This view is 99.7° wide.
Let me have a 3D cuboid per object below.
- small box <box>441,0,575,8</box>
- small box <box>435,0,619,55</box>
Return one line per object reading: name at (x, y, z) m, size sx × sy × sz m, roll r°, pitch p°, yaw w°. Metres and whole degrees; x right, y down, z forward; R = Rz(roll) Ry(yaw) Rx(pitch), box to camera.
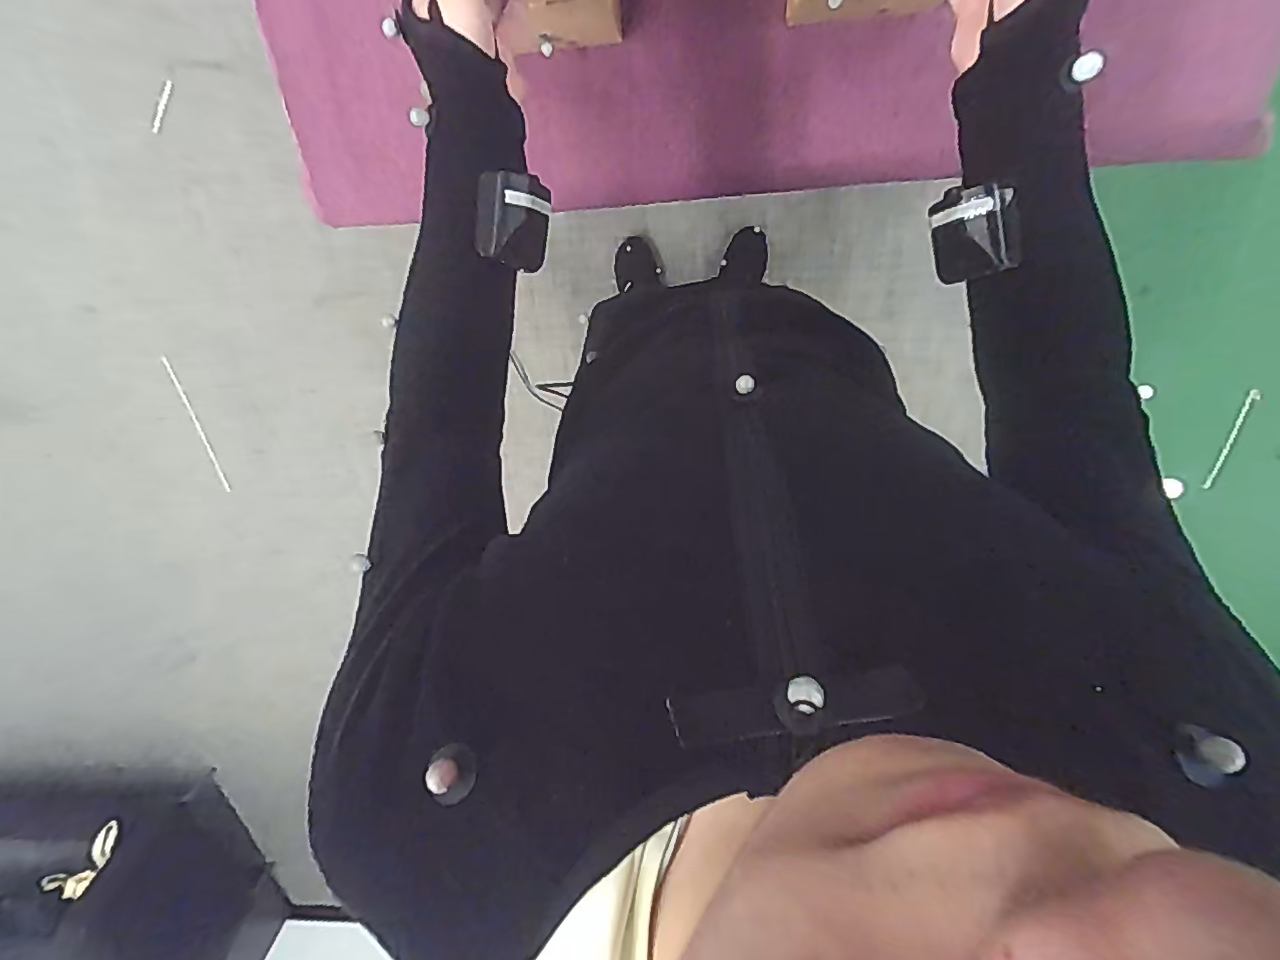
small box at (-0.124, -0.494, 0.400) m, size 0.168 × 0.176 × 0.179 m, roll -2°, pitch 116°, yaw 4°
small box at (-0.114, -0.565, 0.549) m, size 0.168 × 0.176 × 0.179 m, roll -1°, pitch 117°, yaw 5°
